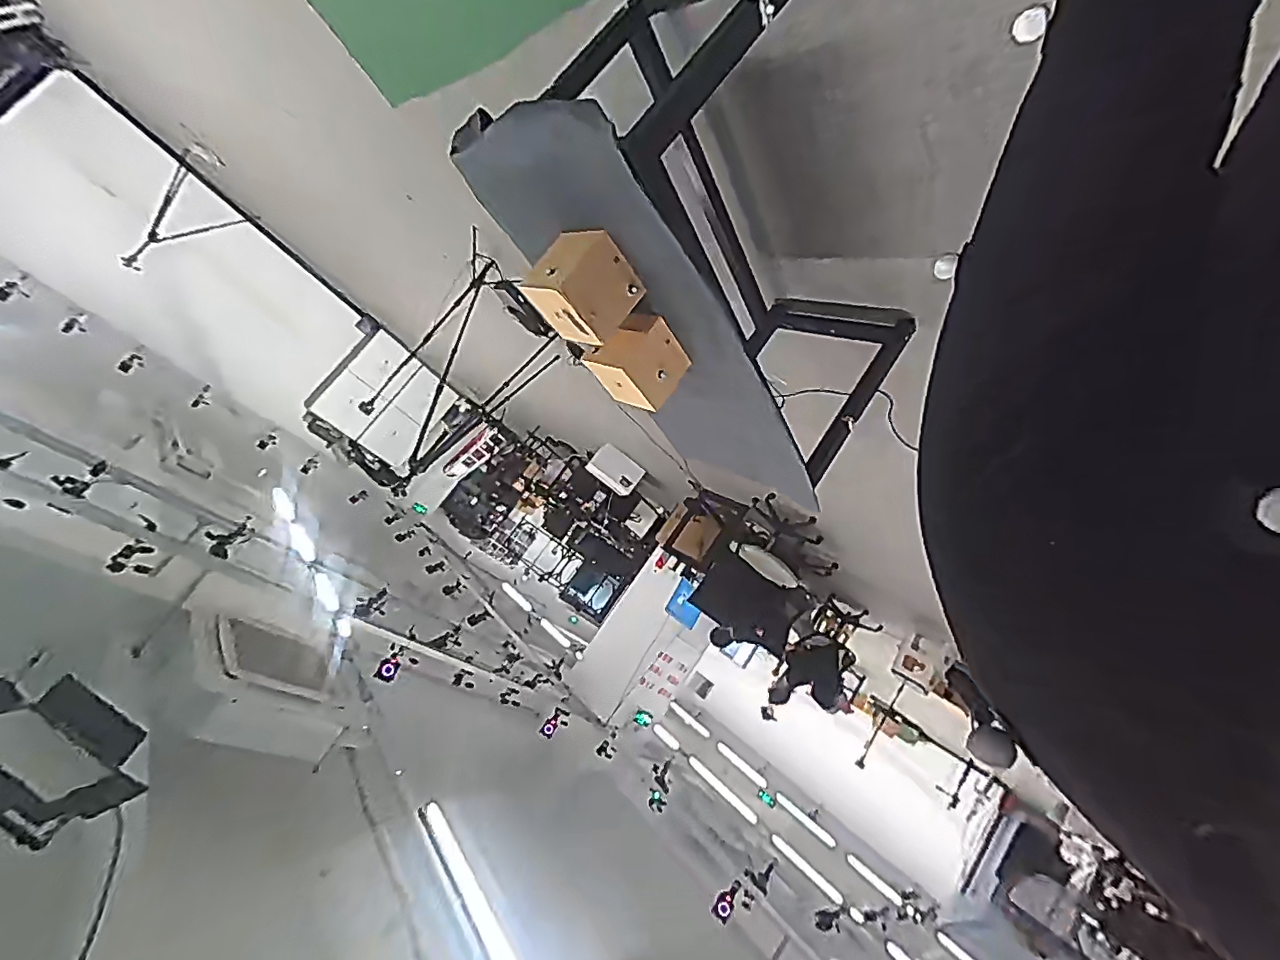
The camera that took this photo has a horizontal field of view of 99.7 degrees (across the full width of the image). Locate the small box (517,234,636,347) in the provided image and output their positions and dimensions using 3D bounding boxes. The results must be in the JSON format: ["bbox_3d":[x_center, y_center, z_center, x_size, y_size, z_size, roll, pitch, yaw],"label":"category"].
[{"bbox_3d":[-0.131,-0.422,1.198,0.179,0.176,0.168,26,165,46],"label":"small box"}]

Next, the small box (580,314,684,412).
[{"bbox_3d":[-0.011,-0.299,1.366,0.179,0.176,0.168,25,165,46],"label":"small box"}]
